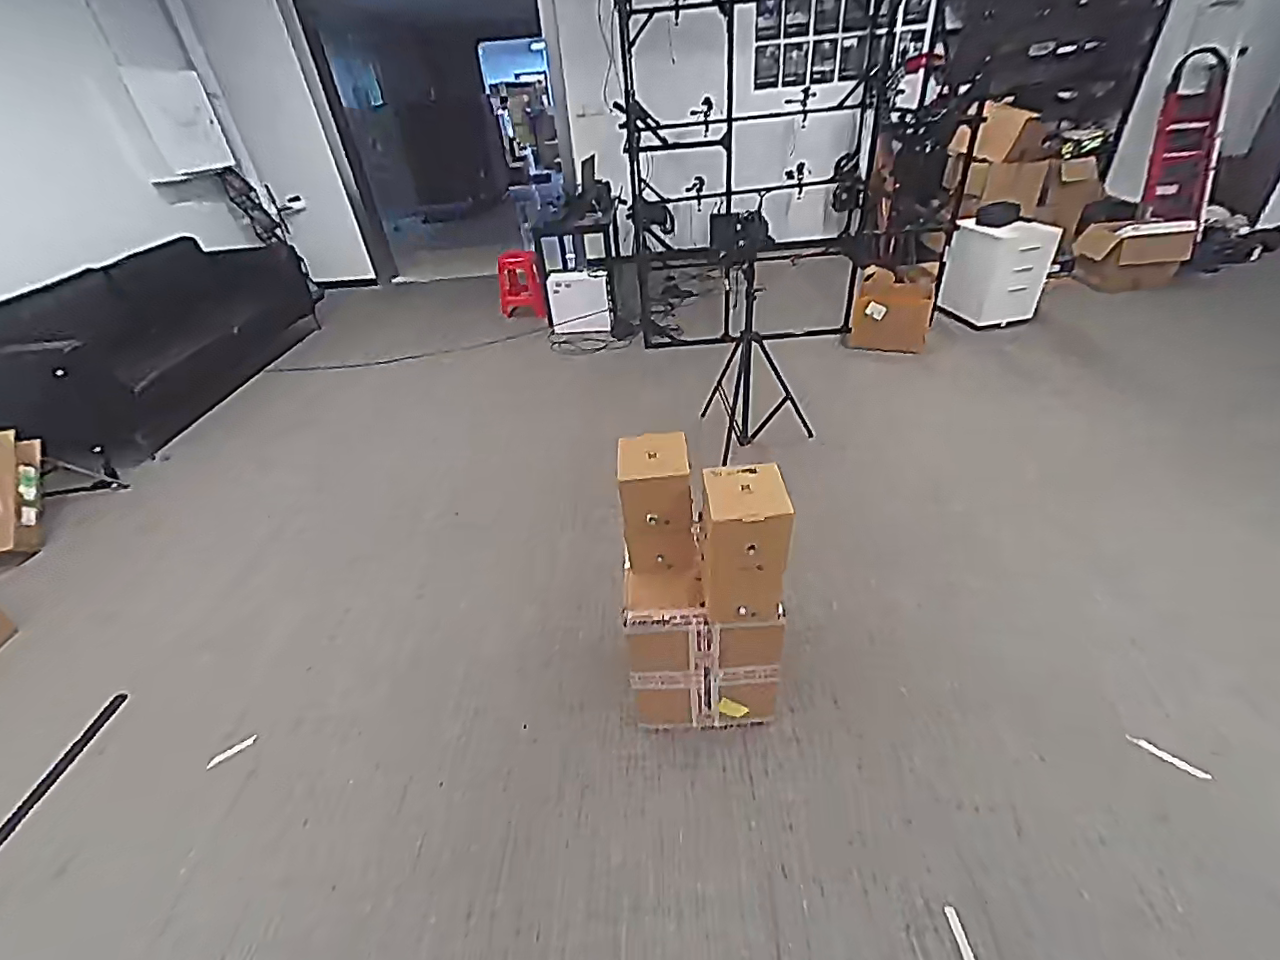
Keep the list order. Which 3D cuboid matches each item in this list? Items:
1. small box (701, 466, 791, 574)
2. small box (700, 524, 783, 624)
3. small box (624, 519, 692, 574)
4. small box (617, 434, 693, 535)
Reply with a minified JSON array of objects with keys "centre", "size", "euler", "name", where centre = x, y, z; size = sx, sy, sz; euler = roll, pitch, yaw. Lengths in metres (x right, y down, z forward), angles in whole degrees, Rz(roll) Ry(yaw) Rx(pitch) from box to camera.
[{"centre":[0.225,0.092,1.181],"size":[0.168,0.176,0.179],"euler":[-4,38,2],"name":"small box"},{"centre":[0.232,0.218,1.286],"size":[0.168,0.176,0.179],"euler":[-5,39,1],"name":"small box"},{"centre":[0.048,0.127,1.431],"size":[0.168,0.176,0.179],"euler":[-5,38,3],"name":"small box"},{"centre":[0.037,0.011,1.314],"size":[0.168,0.176,0.179],"euler":[-6,39,3],"name":"small box"}]
